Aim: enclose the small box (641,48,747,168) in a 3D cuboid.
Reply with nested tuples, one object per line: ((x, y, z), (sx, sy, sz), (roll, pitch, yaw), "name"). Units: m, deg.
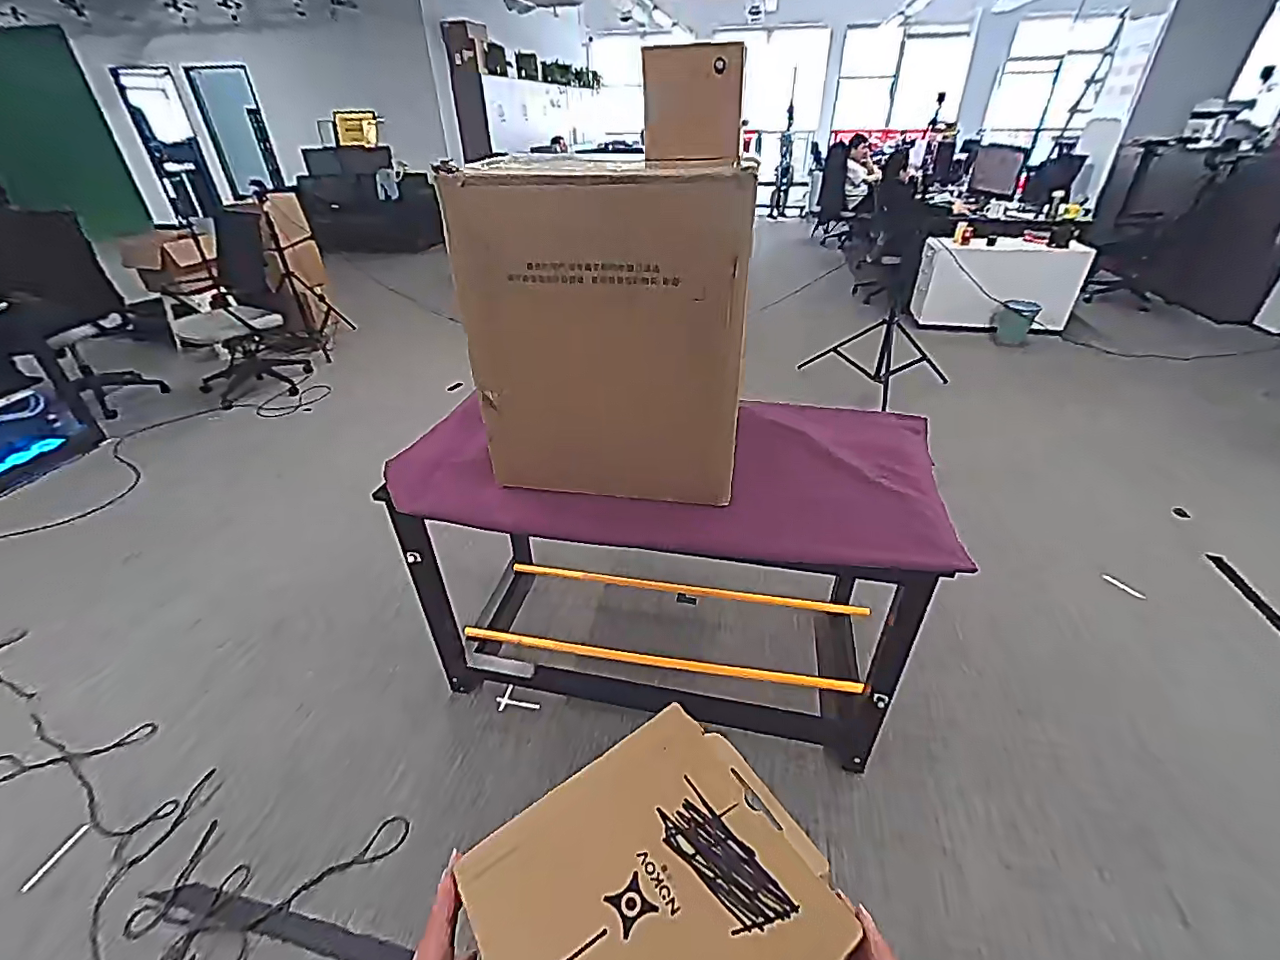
((0.103, -0.679, 1.001), (0.179, 0.176, 0.168), (5, 34, 10), "small box")
